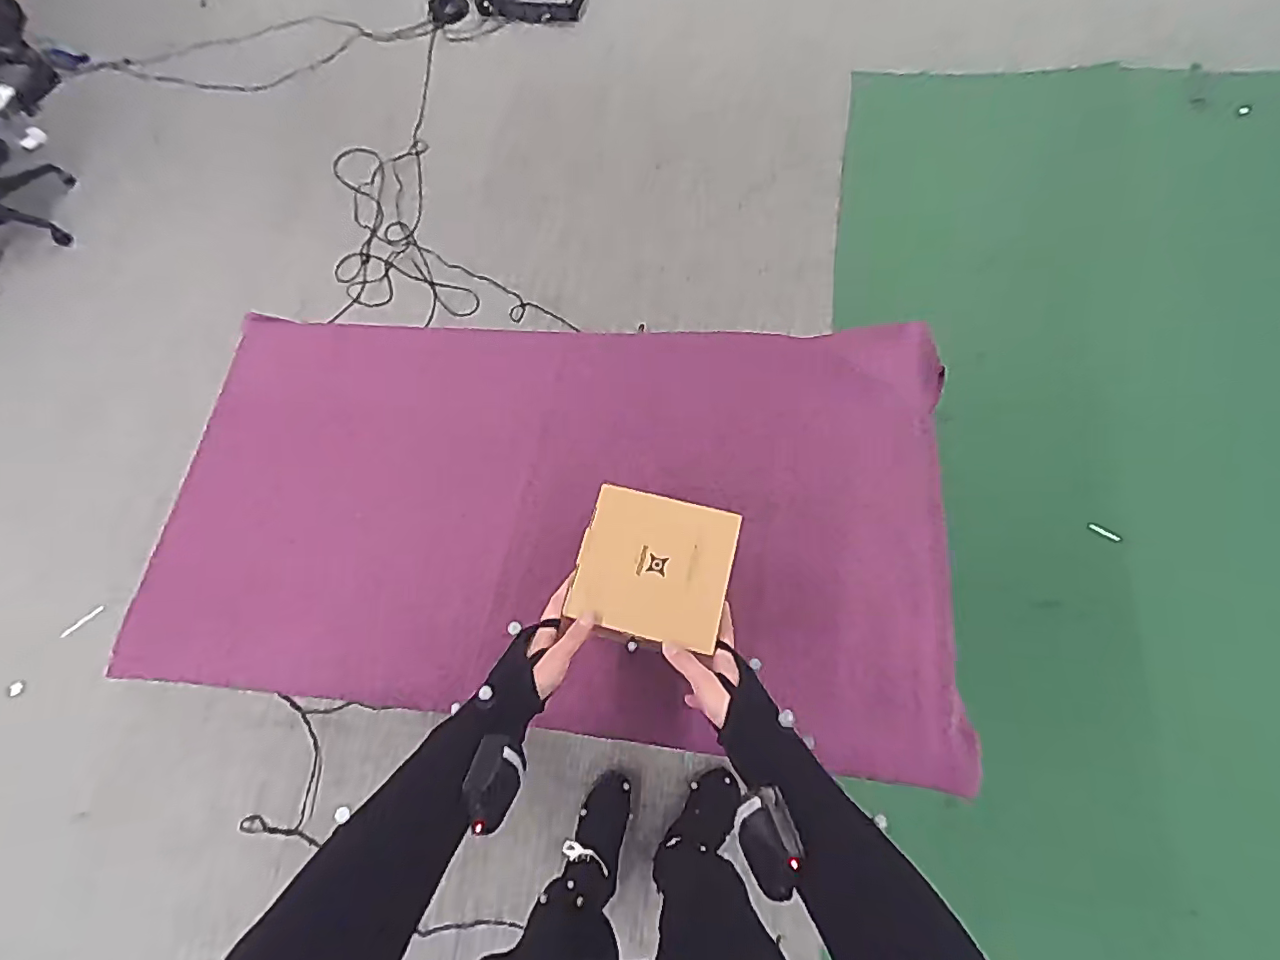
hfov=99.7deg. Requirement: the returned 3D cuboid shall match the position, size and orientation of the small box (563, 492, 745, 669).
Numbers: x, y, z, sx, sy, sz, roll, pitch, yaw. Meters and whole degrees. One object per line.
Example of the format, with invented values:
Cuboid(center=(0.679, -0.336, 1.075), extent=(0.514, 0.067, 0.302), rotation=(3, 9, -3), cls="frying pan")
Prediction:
Cuboid(center=(0.023, 0.135, 0.688), extent=(0.179, 0.176, 0.168), rotation=(14, 70, 9), cls="small box")
